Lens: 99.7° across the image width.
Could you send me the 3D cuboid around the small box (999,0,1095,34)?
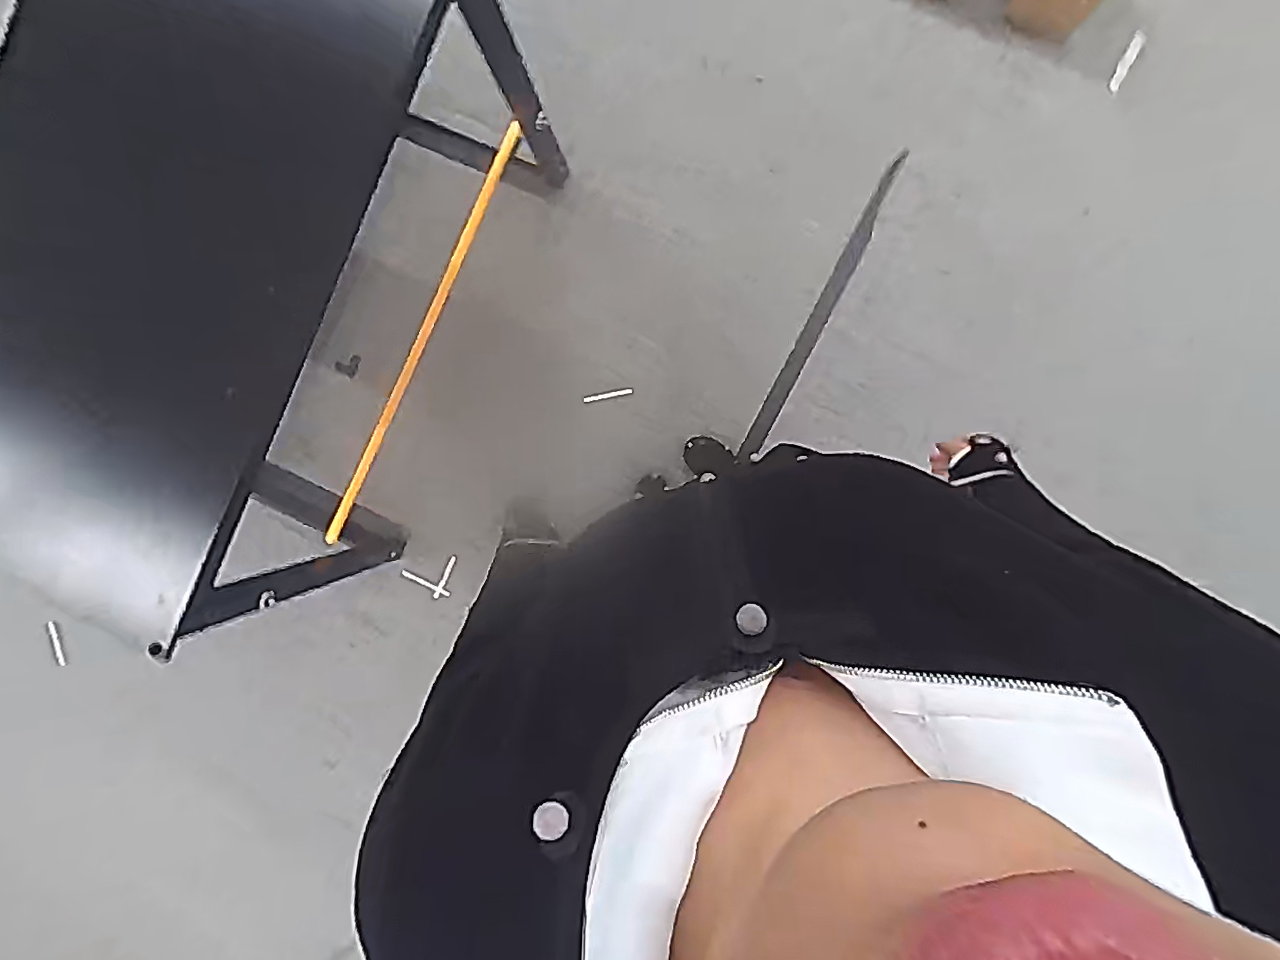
[{"bbox_3d":[1.011,-1.218,1.283,0.179,0.176,0.168,25,95,2],"label":"small box"}]
